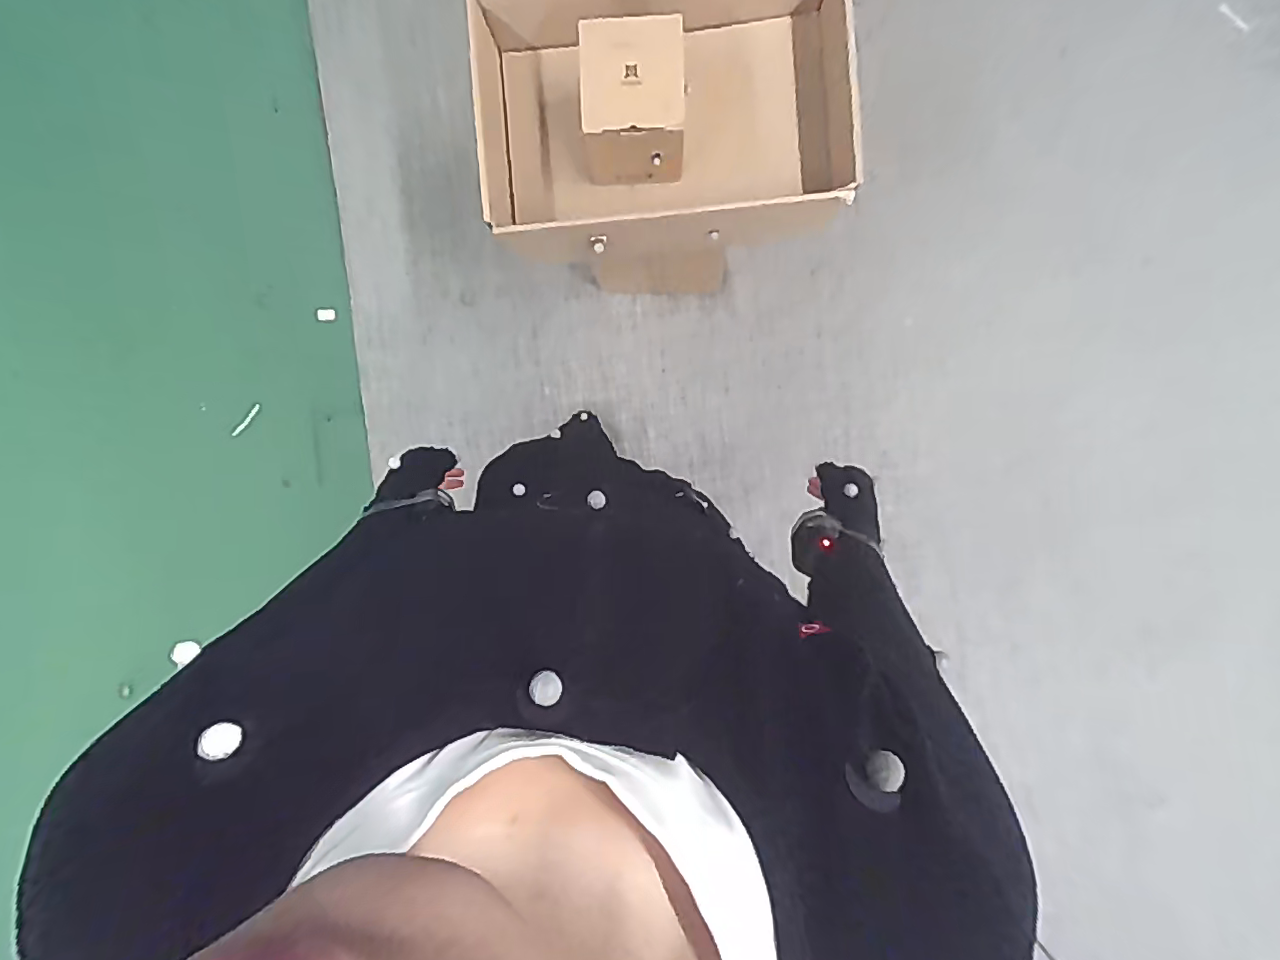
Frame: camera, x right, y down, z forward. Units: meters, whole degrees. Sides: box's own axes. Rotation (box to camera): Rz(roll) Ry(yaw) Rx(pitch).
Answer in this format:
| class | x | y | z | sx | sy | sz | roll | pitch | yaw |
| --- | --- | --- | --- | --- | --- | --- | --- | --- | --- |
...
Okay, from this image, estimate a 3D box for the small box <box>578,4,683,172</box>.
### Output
| class | x | y | z | sx | sy | sz | roll | pitch | yaw |
| --- | --- | --- | --- | --- | --- | --- | --- | --- | --- |
| small box | -0.012 | -0.649 | 0.920 | 0.168 | 0.176 | 0.179 | -2 | 91 | 1 |
